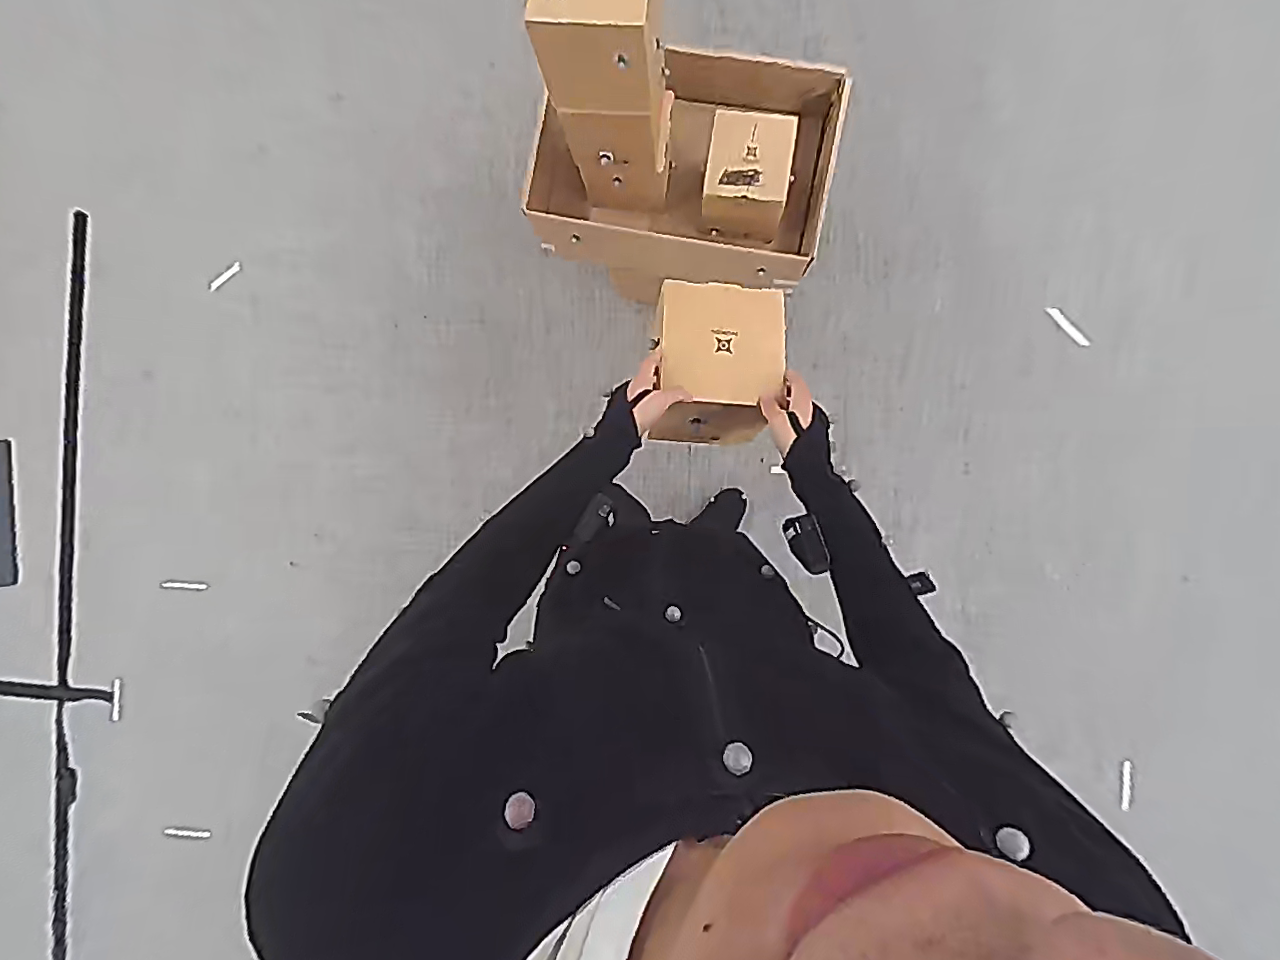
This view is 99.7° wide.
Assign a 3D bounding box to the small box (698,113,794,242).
[{"bbox_3d":[0.217,-0.629,1.145,0.168,0.176,0.179,9,89,4],"label":"small box"}]

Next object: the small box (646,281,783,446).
[{"bbox_3d":[0.100,-0.158,0.783,0.168,0.176,0.179,4,74,-5],"label":"small box"}]

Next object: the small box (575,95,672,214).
[{"bbox_3d":[-0.030,-0.697,1.163,0.179,0.176,0.168,8,90,4],"label":"small box"}]

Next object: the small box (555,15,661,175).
[{"bbox_3d":[-0.050,-0.703,1.001,0.168,0.176,0.179,6,89,5],"label":"small box"}]
